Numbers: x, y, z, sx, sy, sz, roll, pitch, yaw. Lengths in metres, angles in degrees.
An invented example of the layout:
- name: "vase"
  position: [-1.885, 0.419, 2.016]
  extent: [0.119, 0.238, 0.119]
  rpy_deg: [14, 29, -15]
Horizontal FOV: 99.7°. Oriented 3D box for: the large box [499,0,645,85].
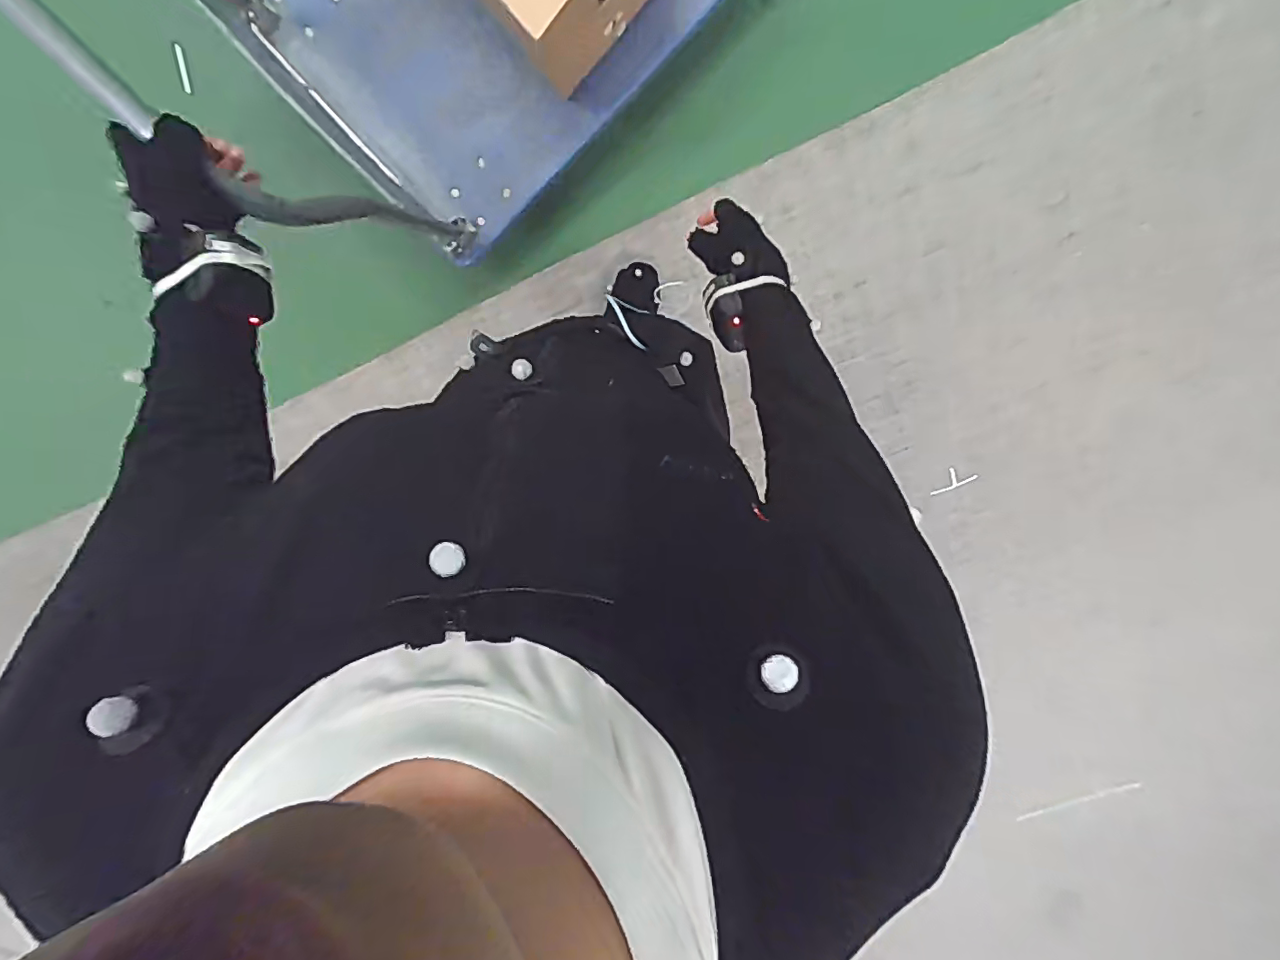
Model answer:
- name: "large box"
  position: [-0.157, -0.916, 0.803]
  extent: [0.320, 0.320, 0.408]
  rpy_deg: [-42, 106, 15]
